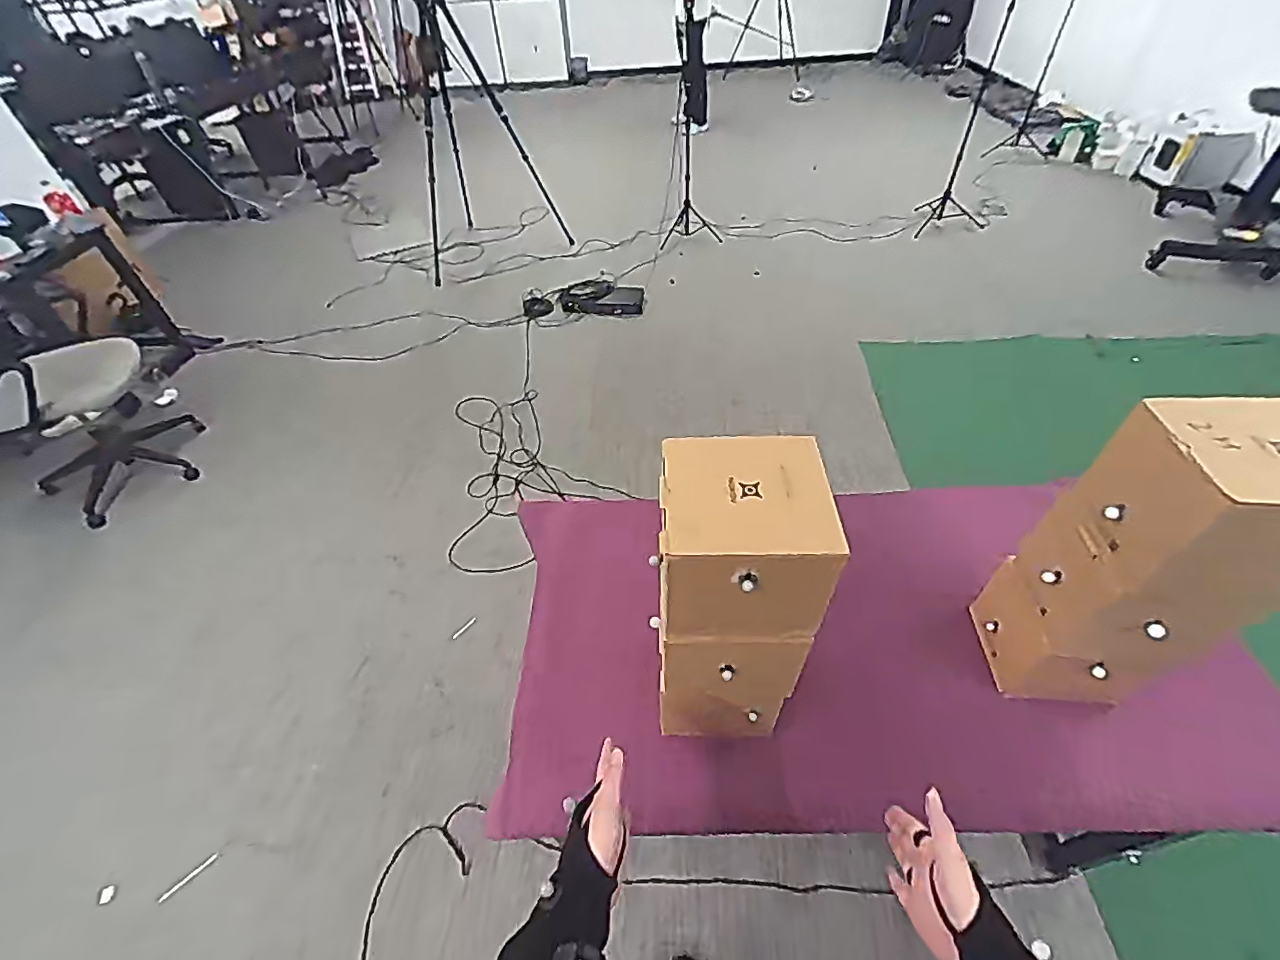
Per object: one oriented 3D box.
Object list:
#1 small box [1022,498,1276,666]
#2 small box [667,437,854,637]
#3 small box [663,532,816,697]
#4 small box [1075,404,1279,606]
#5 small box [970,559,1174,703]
[{"bbox_3d":[0.670,0.142,0.748,0.179,0.176,0.168,2,47,7],"label":"small box"},{"bbox_3d":[0.119,0.067,0.618,0.179,0.176,0.168,1,47,2],"label":"small box"},{"bbox_3d":[0.120,0.182,0.734,0.179,0.176,0.168,-1,46,2],"label":"small box"},{"bbox_3d":[0.668,0.031,0.625,0.179,0.176,0.168,2,46,6],"label":"small box"},{"bbox_3d":[0.678,0.247,0.875,0.179,0.176,0.168,2,47,6],"label":"small box"}]
